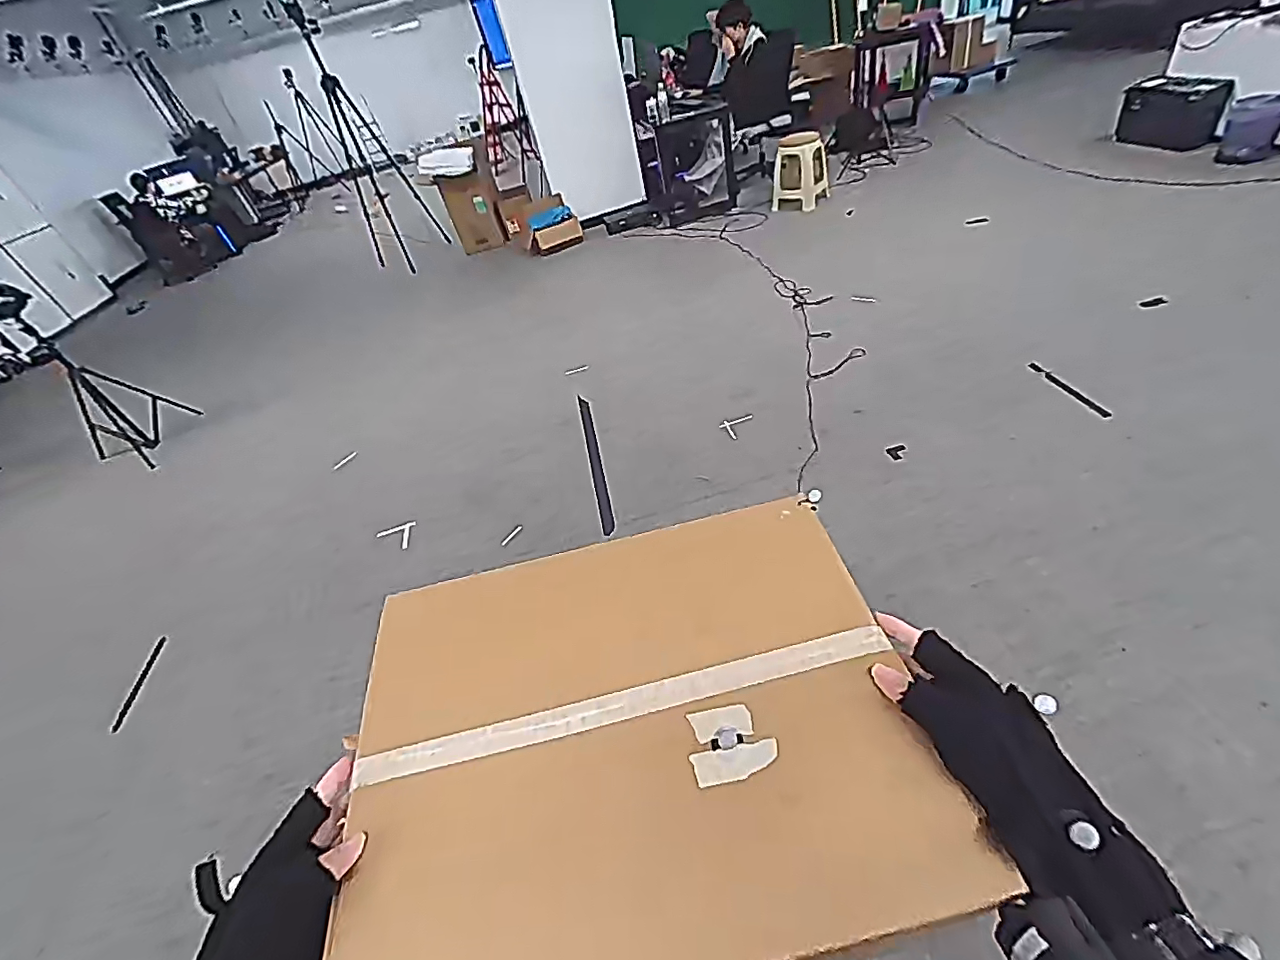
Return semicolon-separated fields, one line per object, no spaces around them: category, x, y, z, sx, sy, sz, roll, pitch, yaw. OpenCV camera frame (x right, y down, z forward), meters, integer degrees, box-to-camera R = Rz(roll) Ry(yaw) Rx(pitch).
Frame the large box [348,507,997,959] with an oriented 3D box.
large box;0.012;0.279;0.519;0.408;0.320;0.320;-13;46;-2
